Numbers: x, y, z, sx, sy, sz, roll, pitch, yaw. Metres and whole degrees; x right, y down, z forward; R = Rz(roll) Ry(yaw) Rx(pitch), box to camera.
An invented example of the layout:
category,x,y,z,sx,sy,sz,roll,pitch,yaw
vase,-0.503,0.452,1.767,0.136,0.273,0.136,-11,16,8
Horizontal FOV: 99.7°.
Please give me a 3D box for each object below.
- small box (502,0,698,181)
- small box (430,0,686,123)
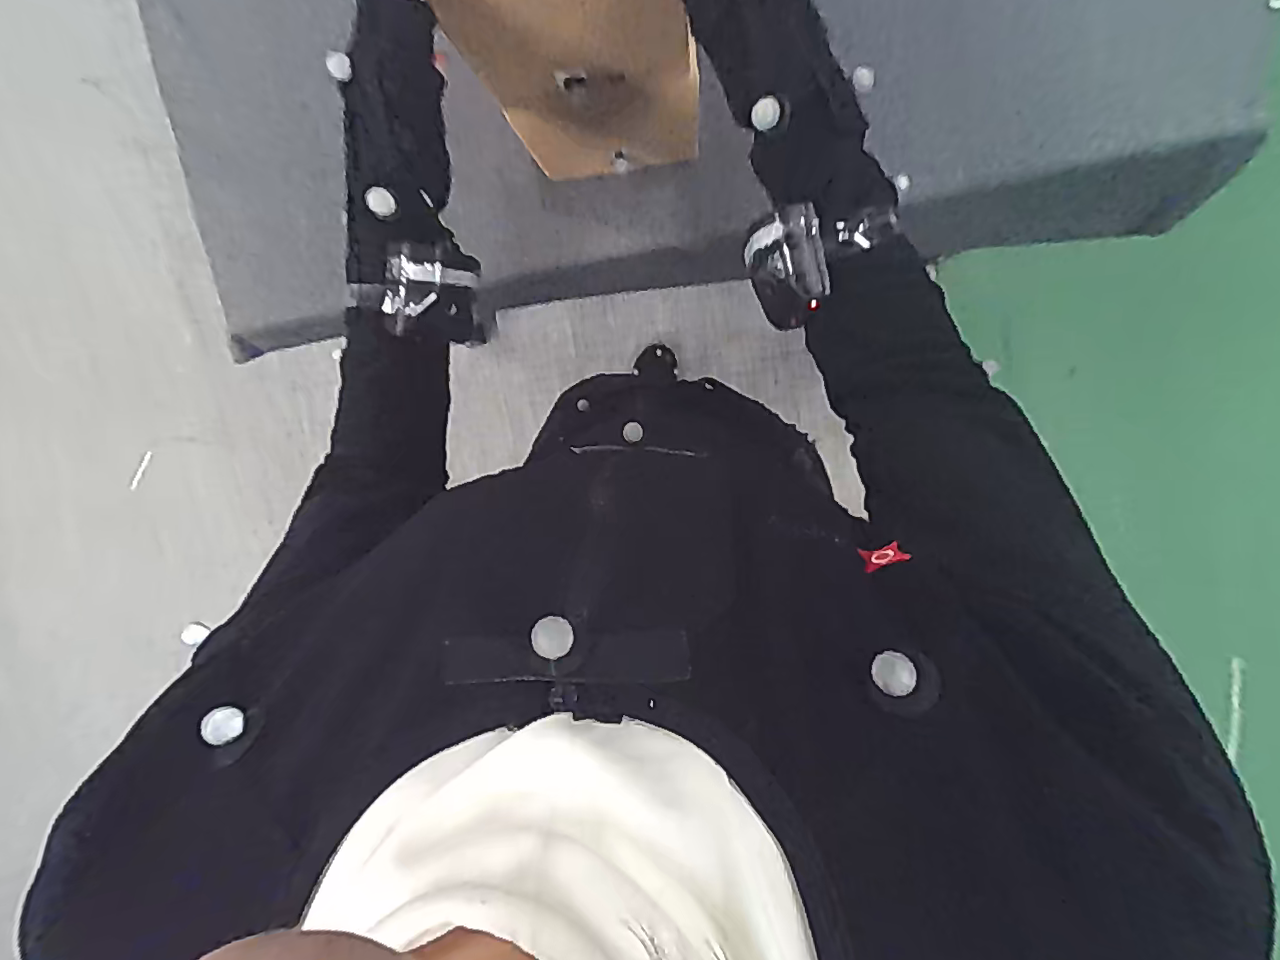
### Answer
category,x,y,z,sx,sy,sz,roll,pitch,yaw
small box,-0.039,-0.426,0.543,0.179,0.176,0.168,-6,99,6
small box,-0.060,-0.399,0.382,0.168,0.176,0.179,-7,98,9
